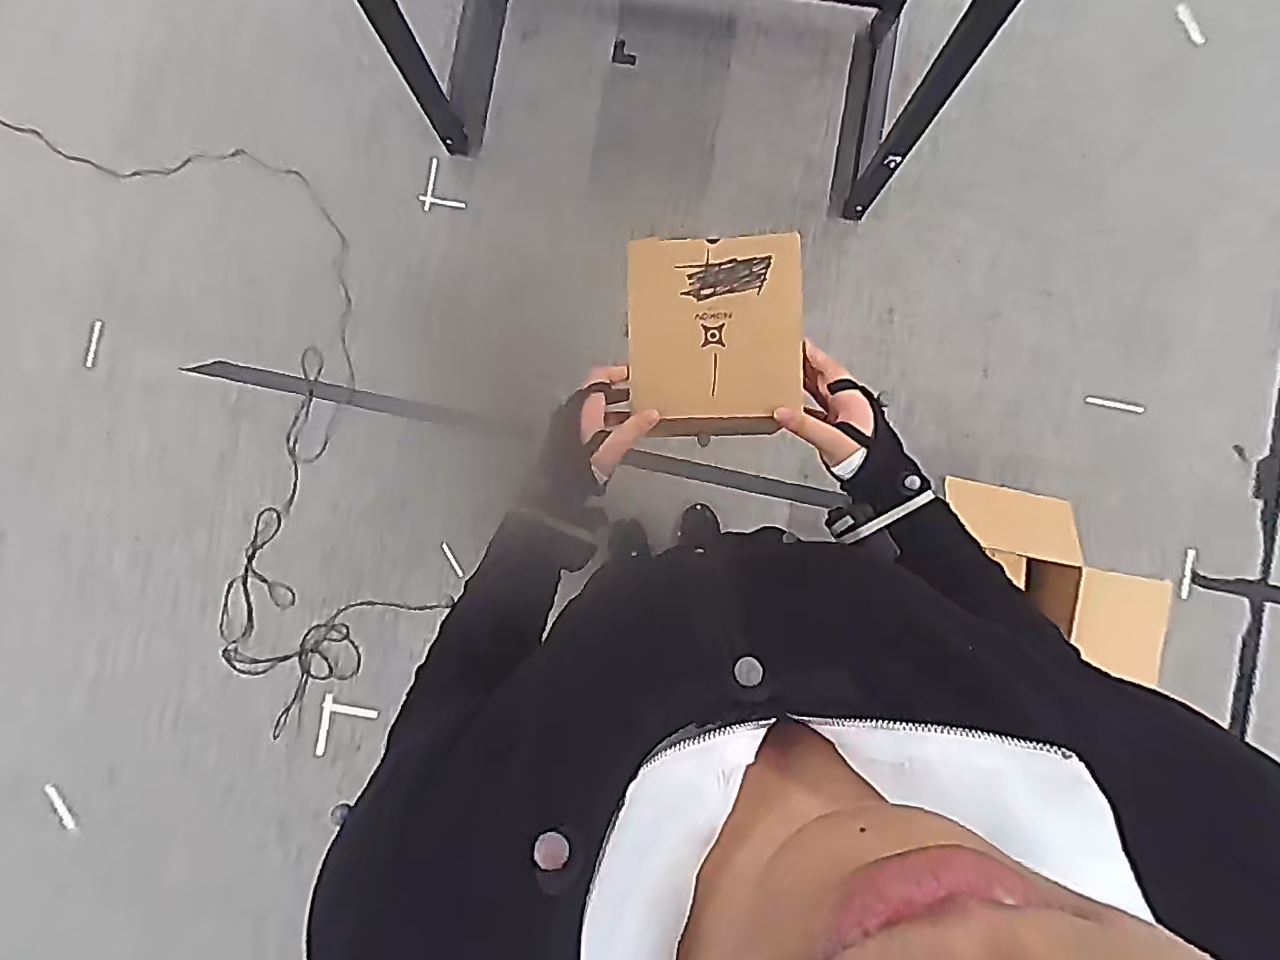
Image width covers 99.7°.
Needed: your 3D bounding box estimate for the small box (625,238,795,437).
[{"bbox_3d":[0.071,-0.144,0.602,0.168,0.176,0.179,-1,89,4],"label":"small box"}]
